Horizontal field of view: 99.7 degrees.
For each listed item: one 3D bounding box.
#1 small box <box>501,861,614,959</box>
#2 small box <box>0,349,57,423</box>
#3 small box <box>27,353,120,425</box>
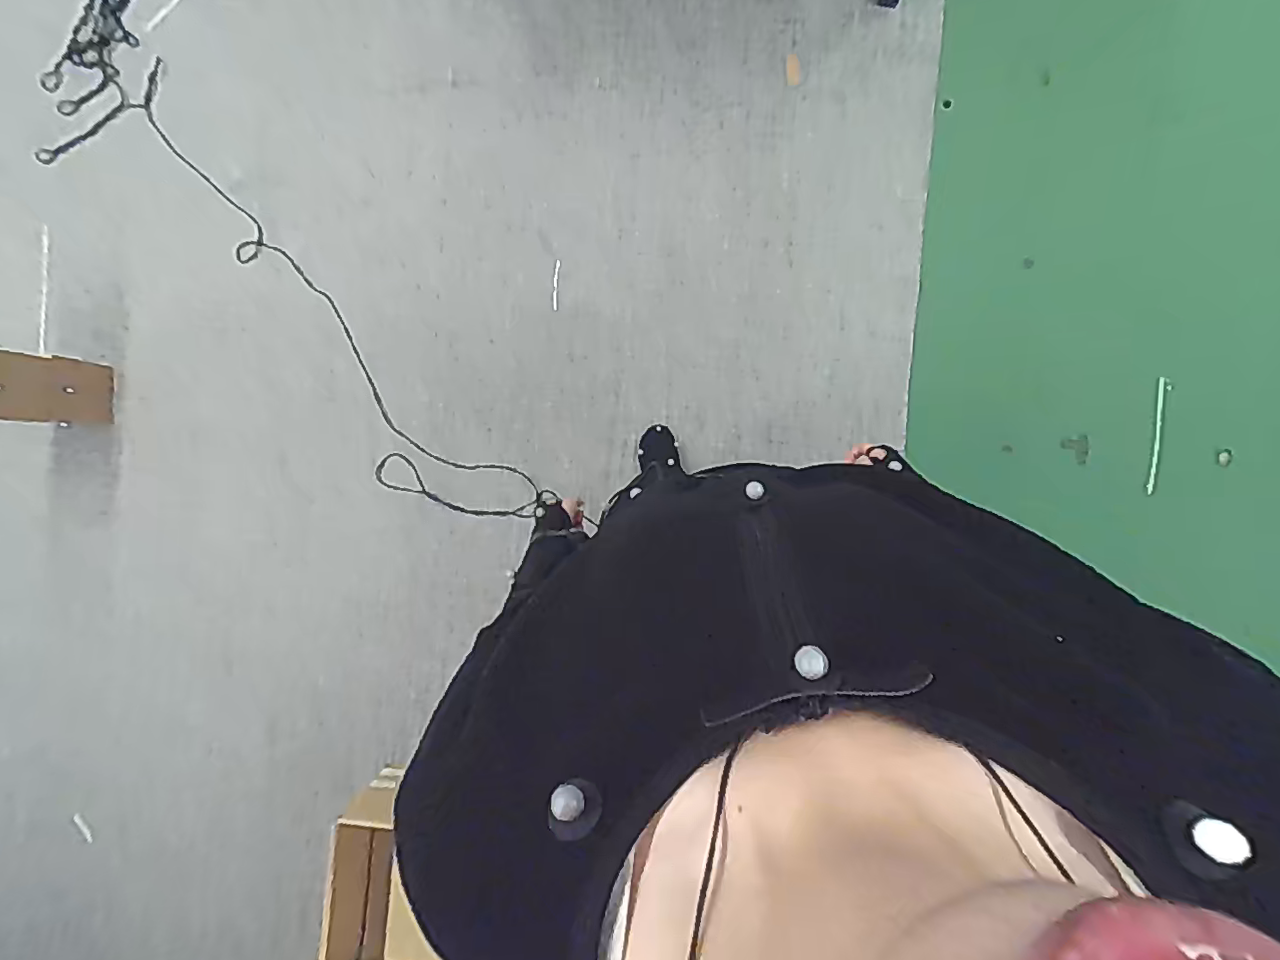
[{"bbox_3d":[-0.153,0.857,1.012,0.179,0.176,0.168,7,90,3],"label":"small box"},{"bbox_3d":[-1.630,-0.240,1.355,0.168,0.176,0.179,4,90,2],"label":"small box"},{"bbox_3d":[-1.620,-0.251,1.519,0.168,0.176,0.179,4,90,3],"label":"small box"}]
